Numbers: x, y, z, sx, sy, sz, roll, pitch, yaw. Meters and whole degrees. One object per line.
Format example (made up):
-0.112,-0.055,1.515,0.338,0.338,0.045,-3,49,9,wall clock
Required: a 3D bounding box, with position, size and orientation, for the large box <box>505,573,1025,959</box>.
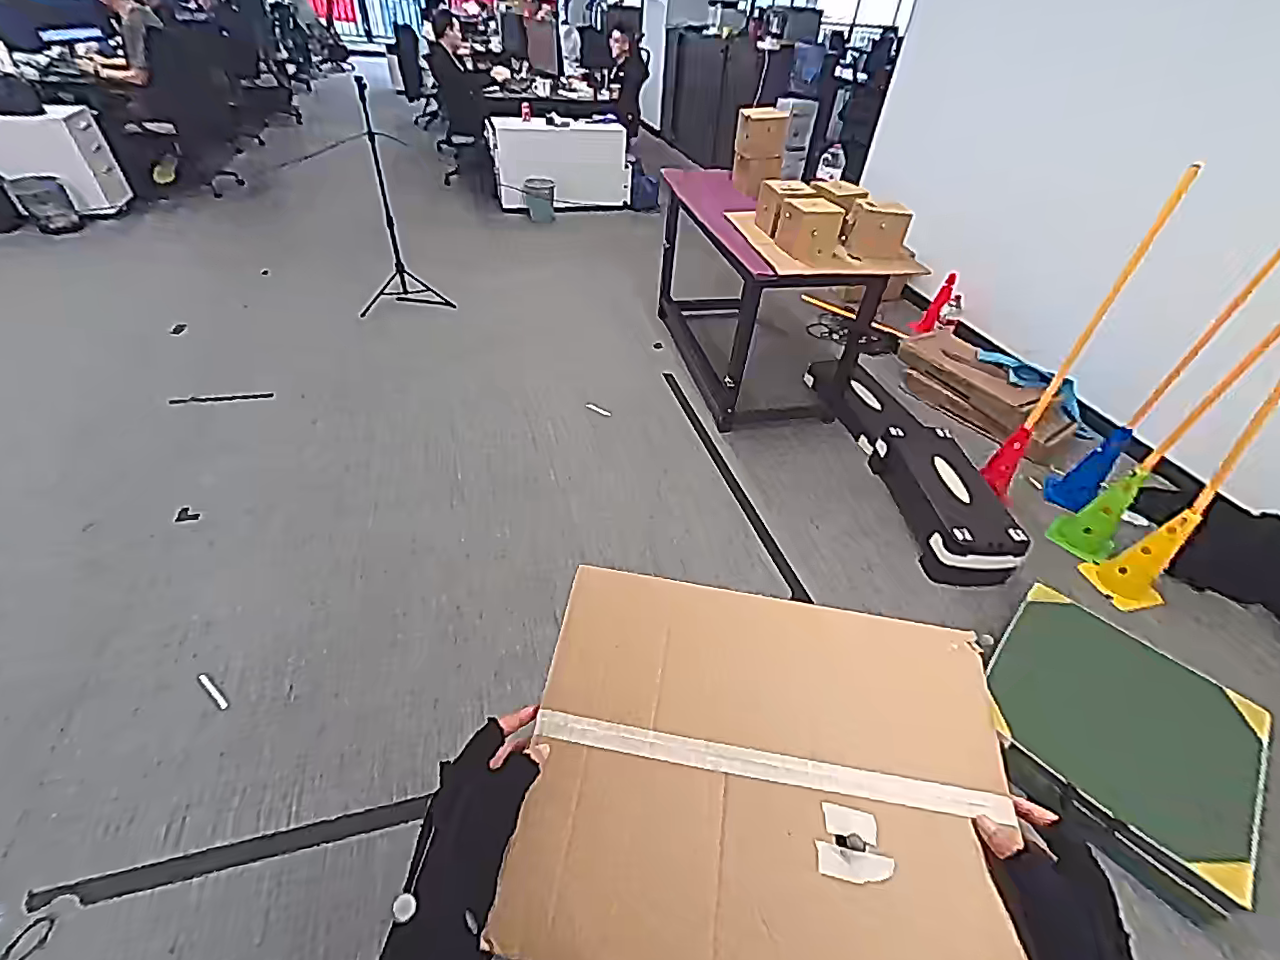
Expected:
0.105,0.336,0.603,0.408,0.320,0.320,9,55,4,large box
